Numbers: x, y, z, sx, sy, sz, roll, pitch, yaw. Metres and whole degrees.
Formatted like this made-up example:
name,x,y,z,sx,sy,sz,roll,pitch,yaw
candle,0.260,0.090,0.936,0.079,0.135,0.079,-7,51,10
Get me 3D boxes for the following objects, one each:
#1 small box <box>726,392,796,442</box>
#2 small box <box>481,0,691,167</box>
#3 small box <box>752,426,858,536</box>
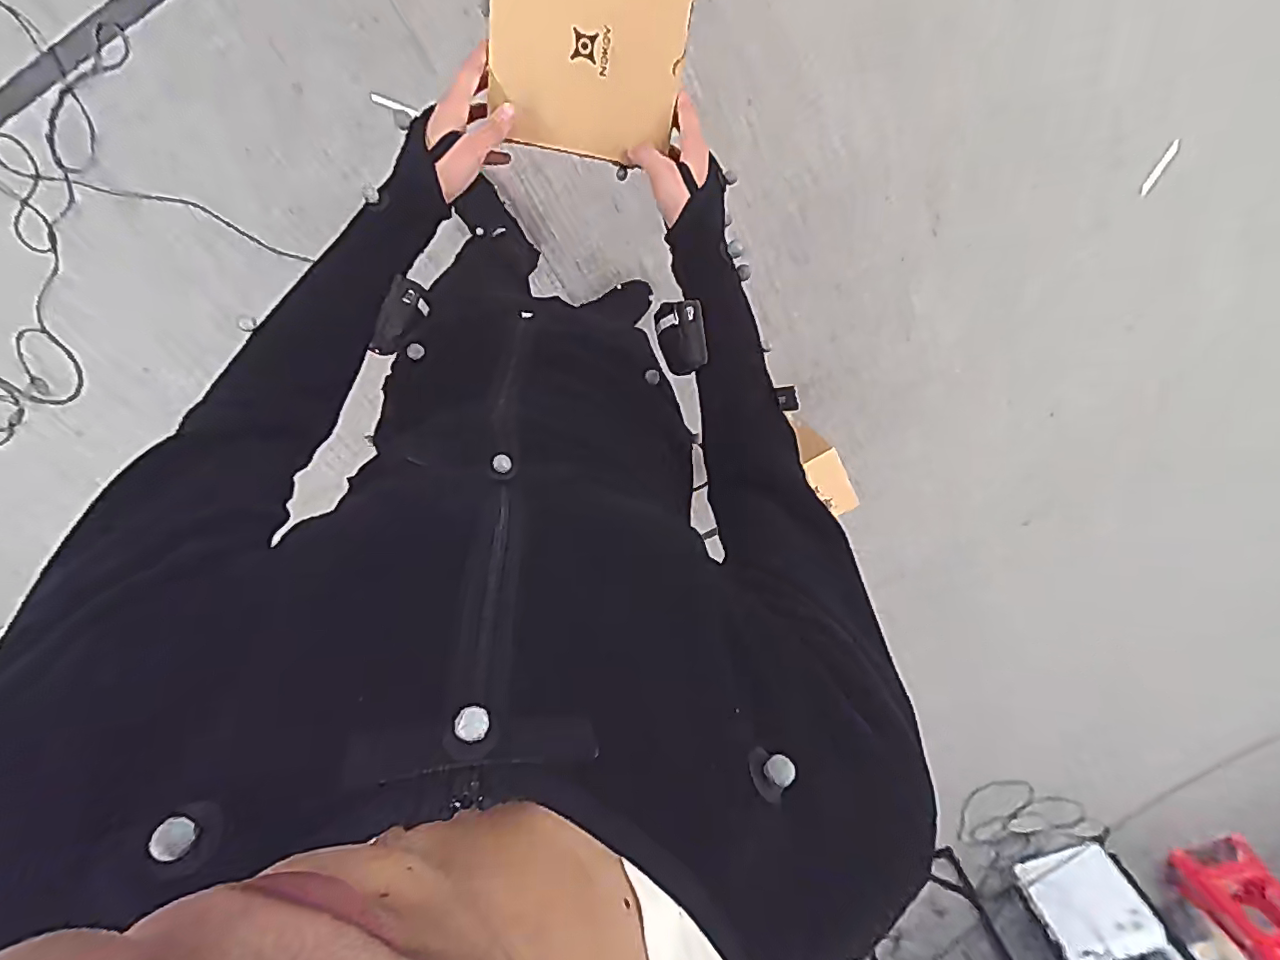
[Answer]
name,x,y,z,sx,sy,sz,roll,pitch,yaw
small box,0.378,-0.135,1.612,0.168,0.176,0.179,-31,115,10
small box,-0.059,-0.423,0.543,0.179,0.176,0.168,3,120,-13
small box,0.395,-0.002,1.312,0.168,0.176,0.179,-29,115,8
